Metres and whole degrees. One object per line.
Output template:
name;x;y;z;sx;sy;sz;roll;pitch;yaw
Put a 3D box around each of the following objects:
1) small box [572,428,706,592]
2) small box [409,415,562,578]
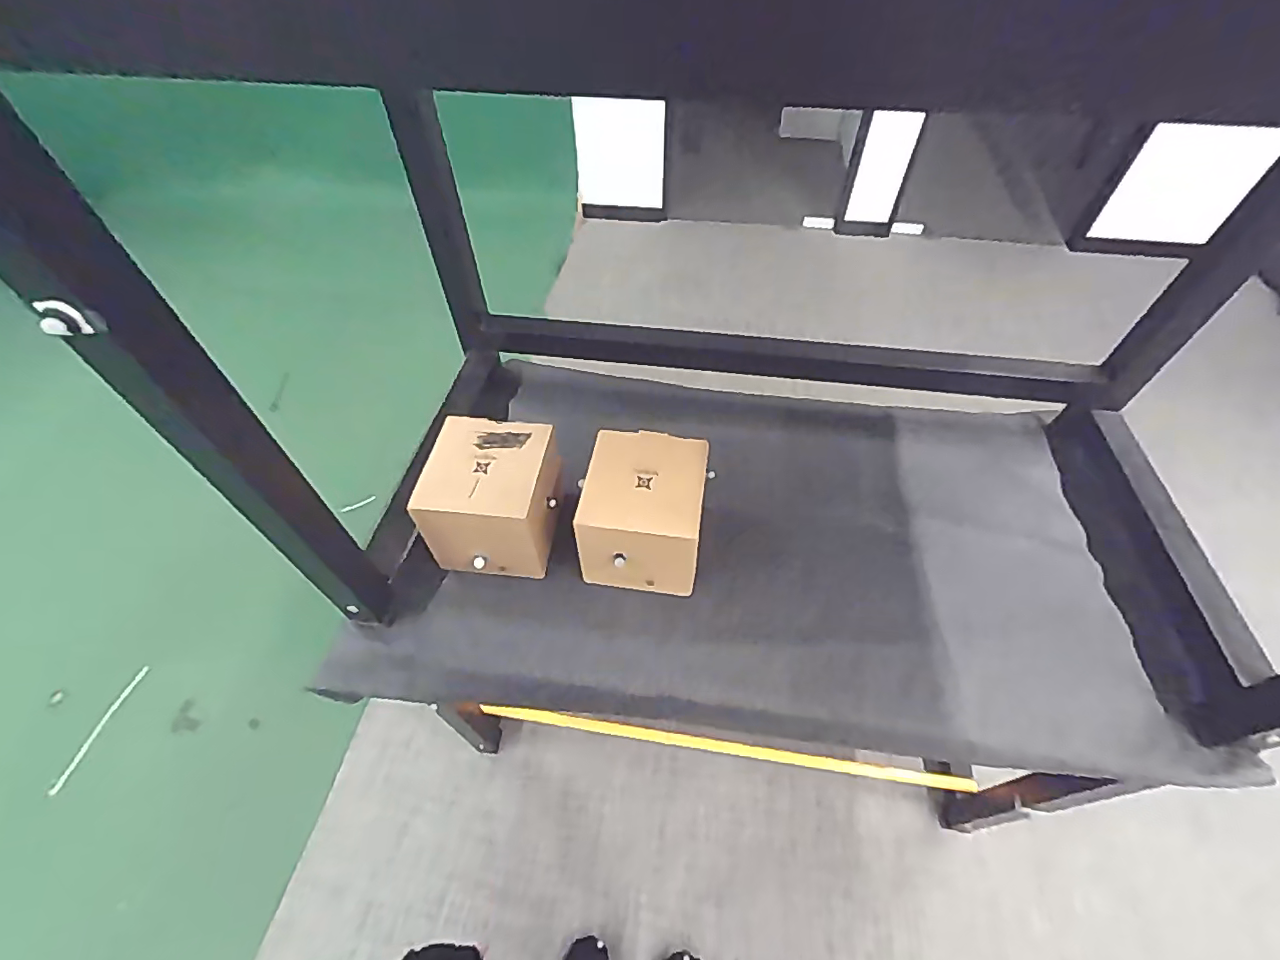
small box;0.005;0.048;0.809;0.168;0.176;0.179;7;51;6
small box;-0.220;0.026;0.826;0.168;0.176;0.179;5;52;4
